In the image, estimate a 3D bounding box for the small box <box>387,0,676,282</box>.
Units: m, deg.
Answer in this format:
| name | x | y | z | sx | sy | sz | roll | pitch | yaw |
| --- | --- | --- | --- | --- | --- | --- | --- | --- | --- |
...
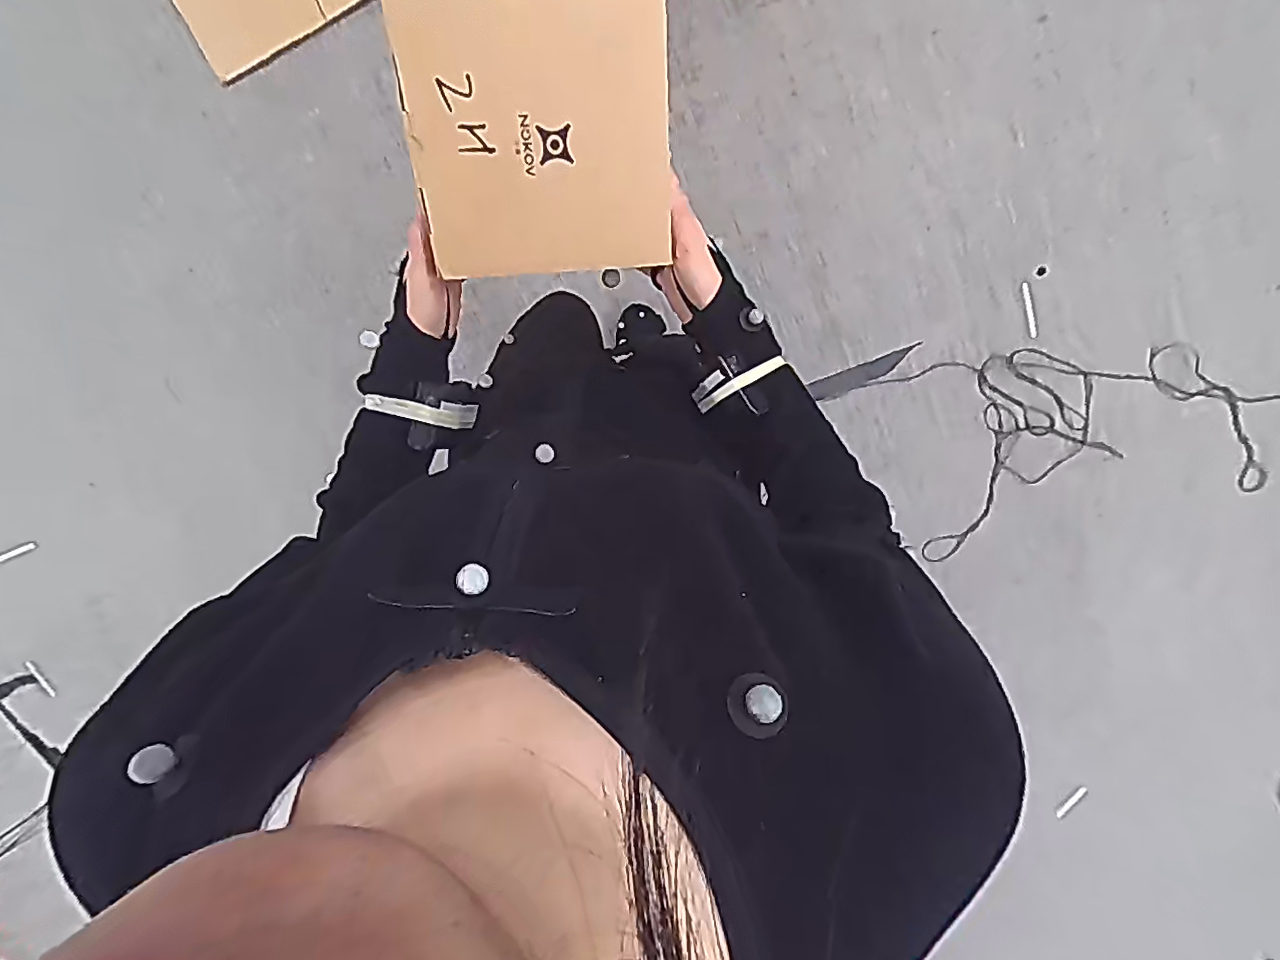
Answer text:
| name | x | y | z | sx | sy | sz | roll | pitch | yaw |
| --- | --- | --- | --- | --- | --- | --- | --- | --- | --- |
| small box | -0.072 | -0.260 | 0.435 | 0.179 | 0.176 | 0.168 | -5 | 117 | -4 |
